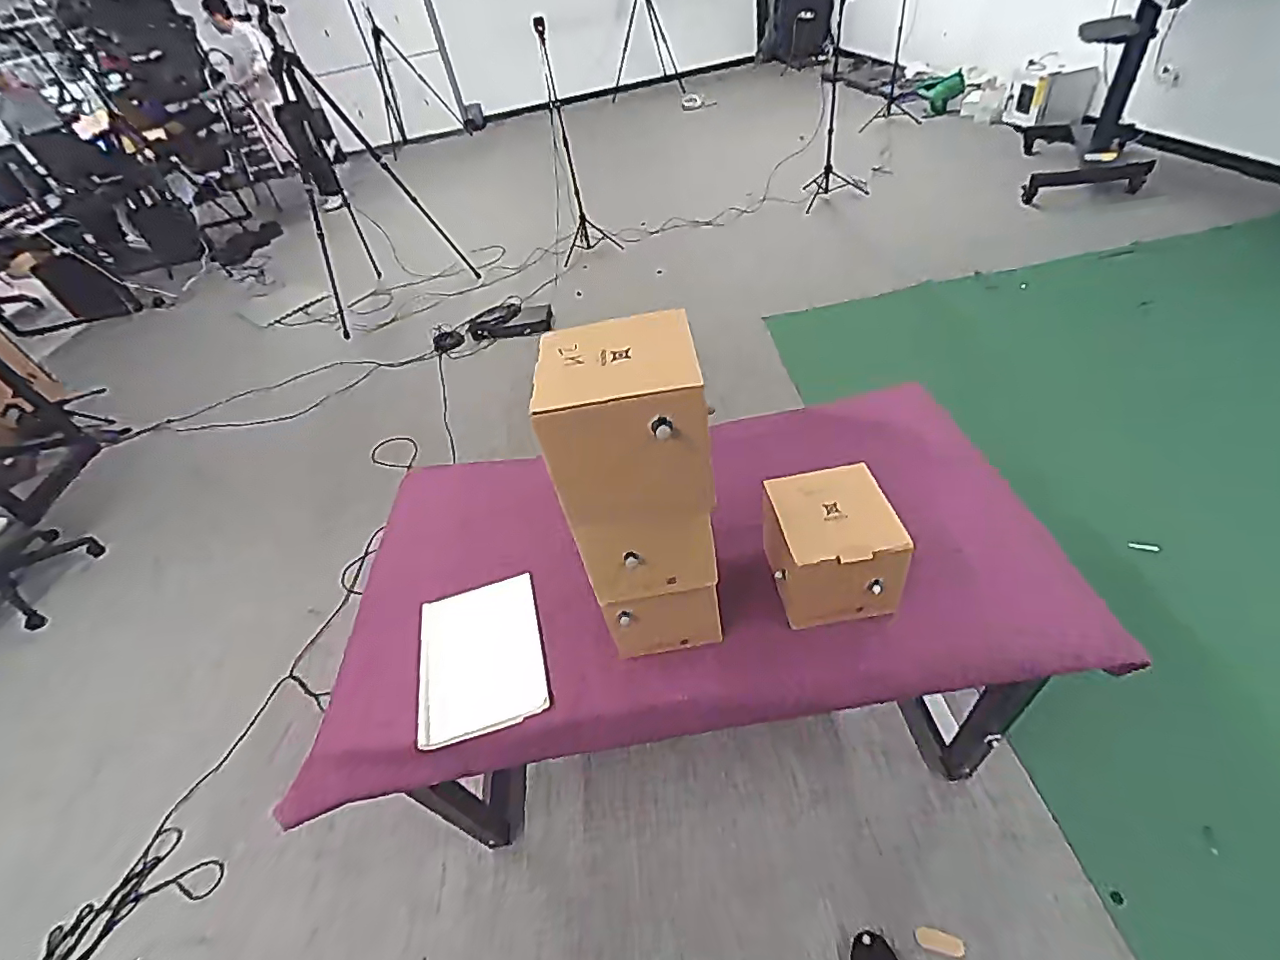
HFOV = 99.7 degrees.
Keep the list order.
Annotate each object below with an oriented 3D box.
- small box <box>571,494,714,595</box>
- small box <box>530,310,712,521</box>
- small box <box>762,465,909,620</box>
[{"bbox_3d":[0.005,0.043,0.749,0.168,0.176,0.179,-10,42,3],"label":"small box"},{"bbox_3d":[-0.013,-0.073,0.632,0.179,0.176,0.168,-9,42,4],"label":"small box"},{"bbox_3d":[0.296,0.105,0.855,0.168,0.176,0.179,-10,42,2],"label":"small box"}]
